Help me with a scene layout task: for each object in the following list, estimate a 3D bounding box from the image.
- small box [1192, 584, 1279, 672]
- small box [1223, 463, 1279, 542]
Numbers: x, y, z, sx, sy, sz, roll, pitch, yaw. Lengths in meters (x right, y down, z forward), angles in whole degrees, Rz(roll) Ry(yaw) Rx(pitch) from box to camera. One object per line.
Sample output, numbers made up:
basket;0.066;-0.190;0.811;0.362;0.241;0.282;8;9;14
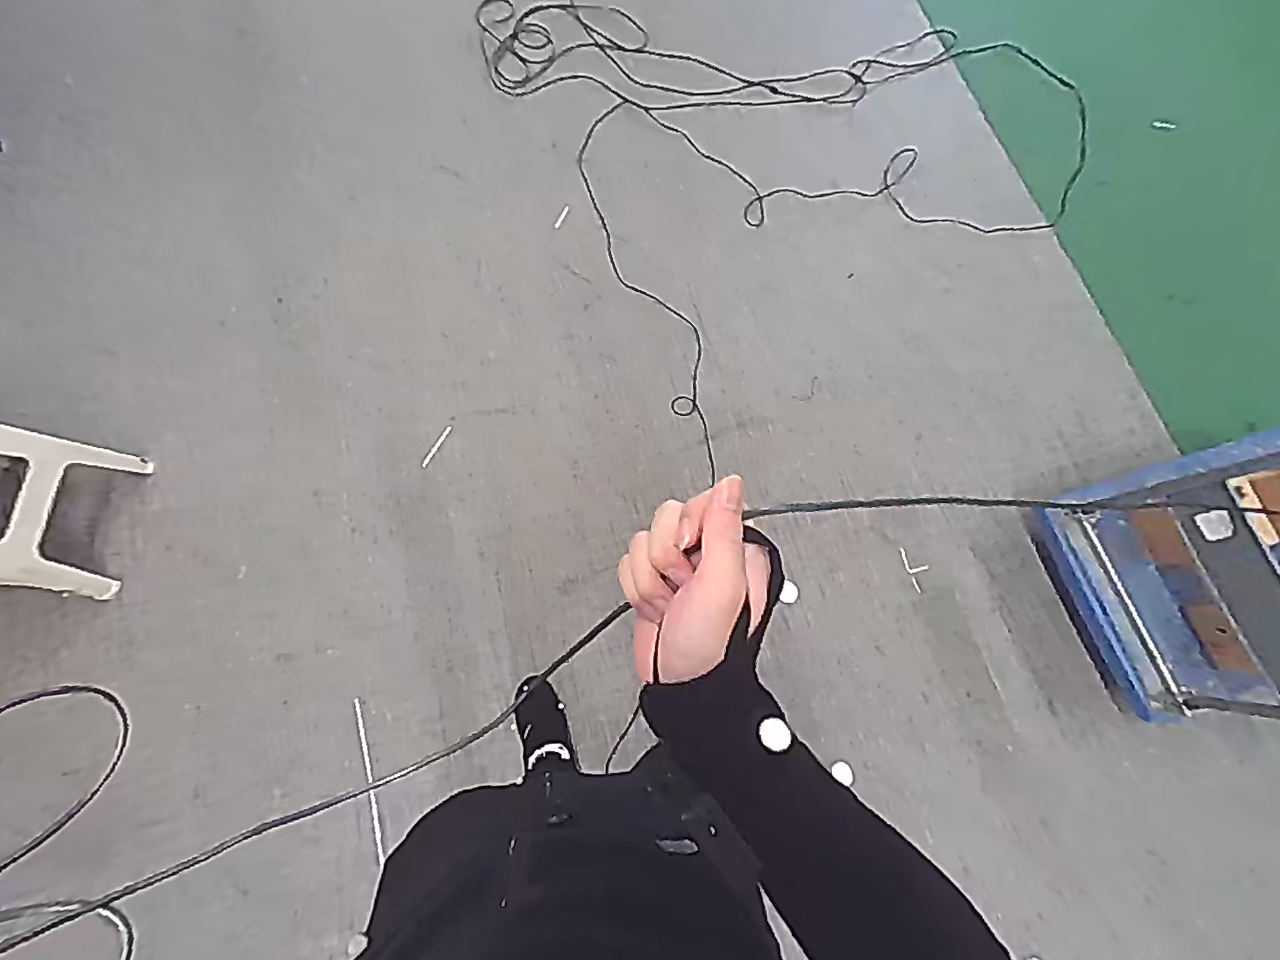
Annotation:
small box;1.484;0.343;1.268;0.179;0.176;0.168;-15;75;-6
small box;1.651;0.044;1.364;0.179;0.176;0.168;-19;76;-8
